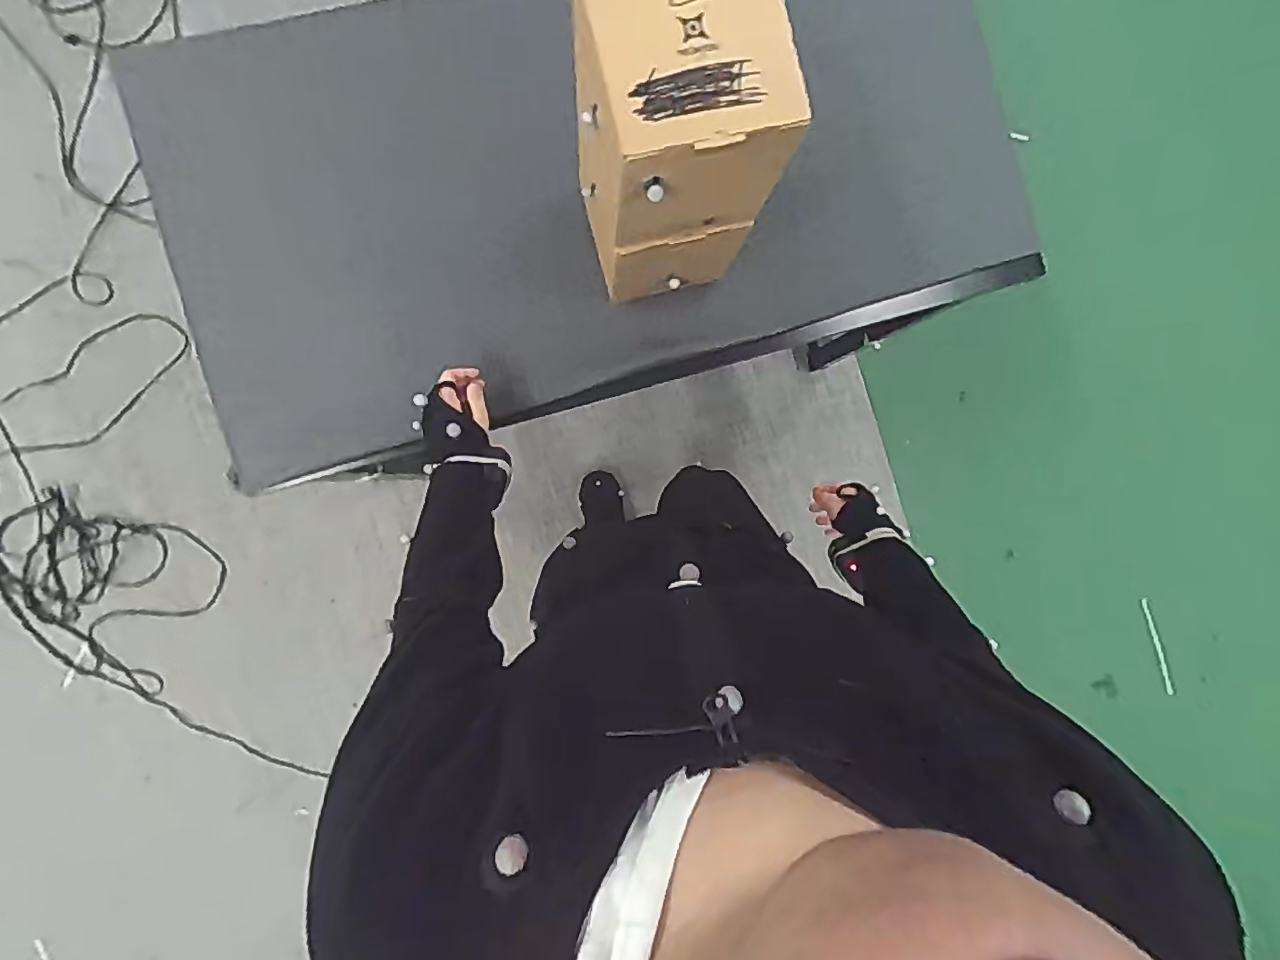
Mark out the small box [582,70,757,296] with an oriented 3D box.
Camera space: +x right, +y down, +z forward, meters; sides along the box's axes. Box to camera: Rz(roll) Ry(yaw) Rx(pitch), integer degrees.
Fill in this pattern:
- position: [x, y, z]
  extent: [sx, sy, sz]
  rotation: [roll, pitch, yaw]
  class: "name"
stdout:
- position: [0.026, -0.360, 0.684]
  extent: [0.168, 0.176, 0.179]
  rotation: [-15, 91, -5]
  class: "small box"
